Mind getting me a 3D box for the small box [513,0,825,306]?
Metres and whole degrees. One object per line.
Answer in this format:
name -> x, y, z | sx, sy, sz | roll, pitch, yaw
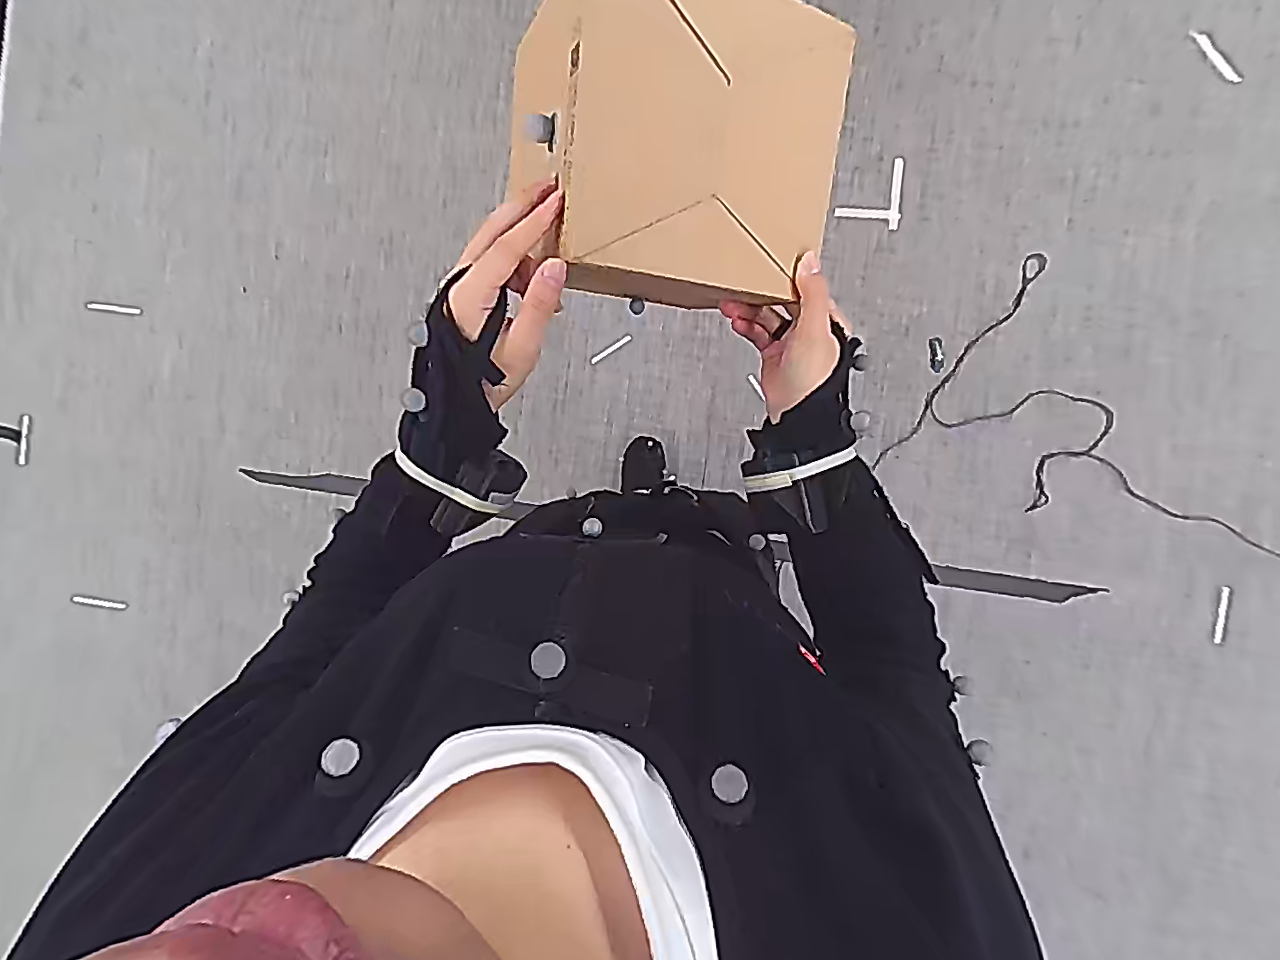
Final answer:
small box -> 0.015, -0.223, 0.398 | 0.179, 0.176, 0.168 | 0, 104, -28
